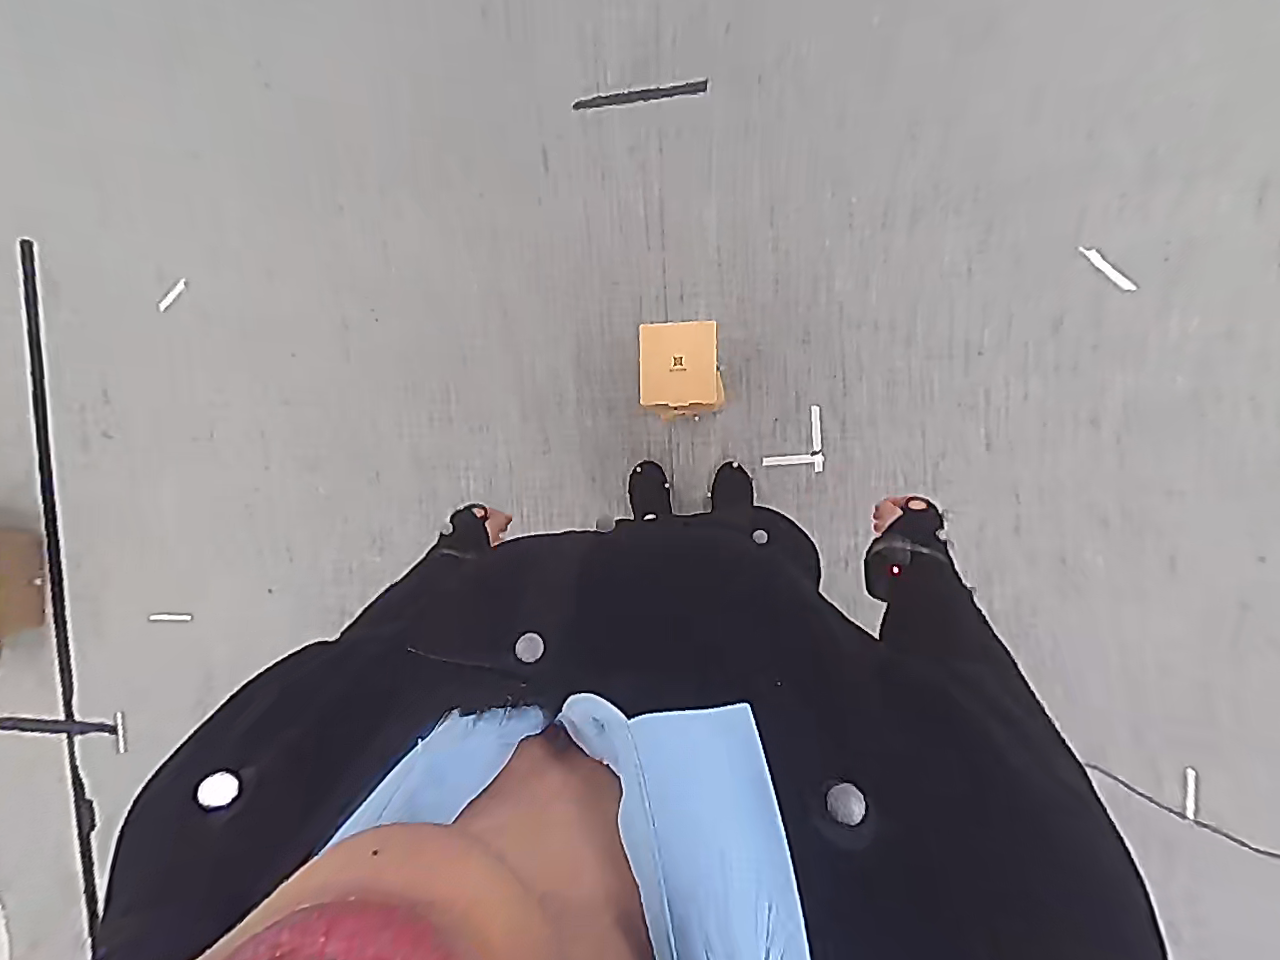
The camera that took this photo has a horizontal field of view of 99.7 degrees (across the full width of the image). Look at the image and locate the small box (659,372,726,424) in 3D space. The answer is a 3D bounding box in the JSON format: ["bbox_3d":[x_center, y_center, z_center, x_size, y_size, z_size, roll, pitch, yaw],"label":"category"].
[{"bbox_3d":[0.119,-0.248,1.386,0.168,0.176,0.179,-13,91,9],"label":"small box"}]

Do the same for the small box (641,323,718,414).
[{"bbox_3d":[0.091,-0.245,1.226,0.168,0.176,0.179,-1,93,8],"label":"small box"}]
